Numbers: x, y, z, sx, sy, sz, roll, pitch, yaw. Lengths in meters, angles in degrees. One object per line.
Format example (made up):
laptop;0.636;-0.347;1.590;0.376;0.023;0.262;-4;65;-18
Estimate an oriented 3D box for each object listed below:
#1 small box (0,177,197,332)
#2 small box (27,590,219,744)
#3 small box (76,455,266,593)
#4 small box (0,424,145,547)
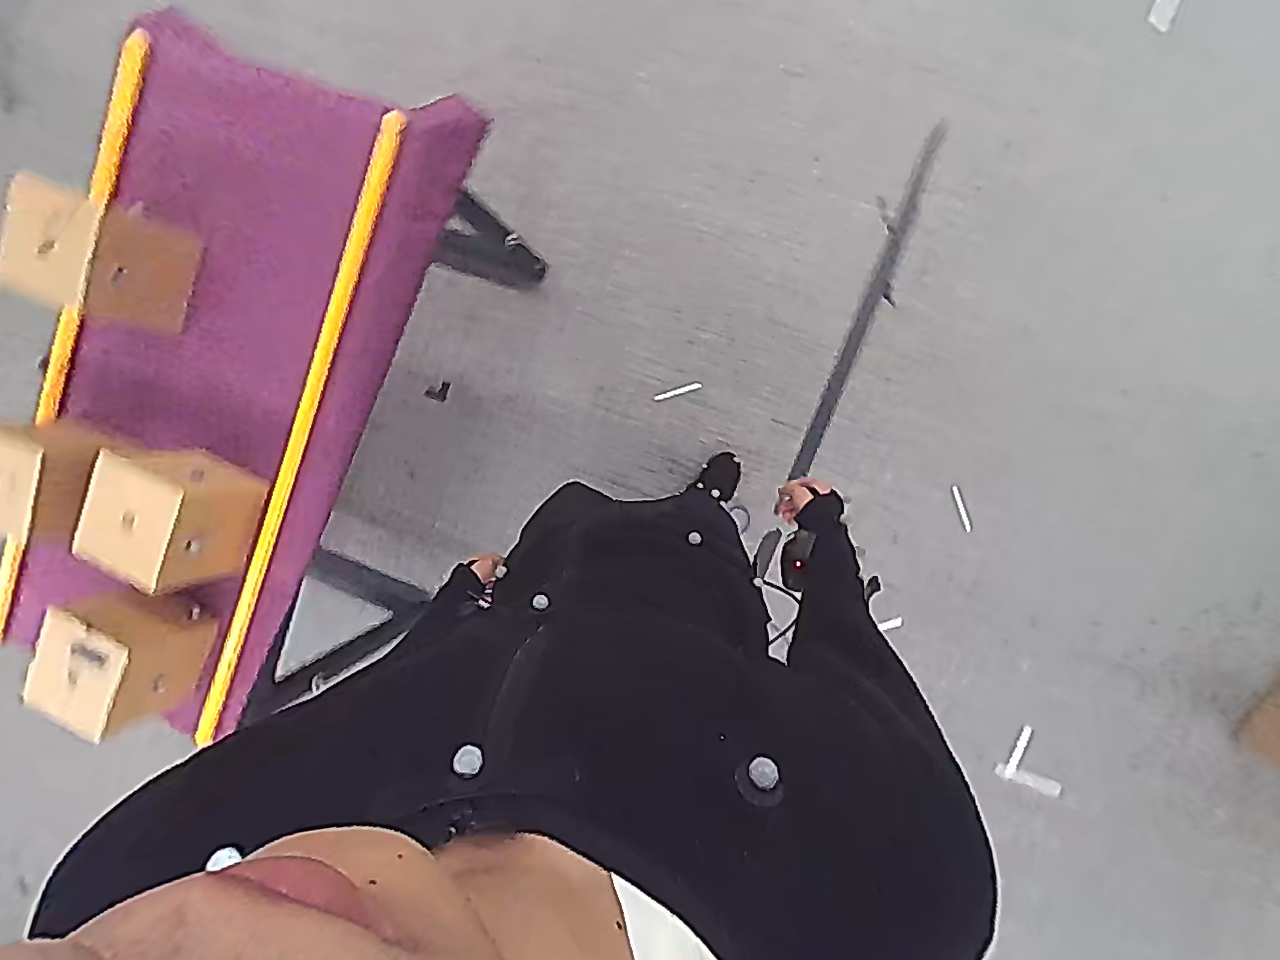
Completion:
small box;-0.907;-0.366;0.916;0.168;0.176;0.179;21;97;5
small box;-0.912;0.320;0.971;0.168;0.176;0.179;25;98;6
small box;-0.796;0.064;0.936;0.168;0.176;0.179;23;98;6
small box;-1.057;0.002;0.969;0.179;0.176;0.168;19;98;6
